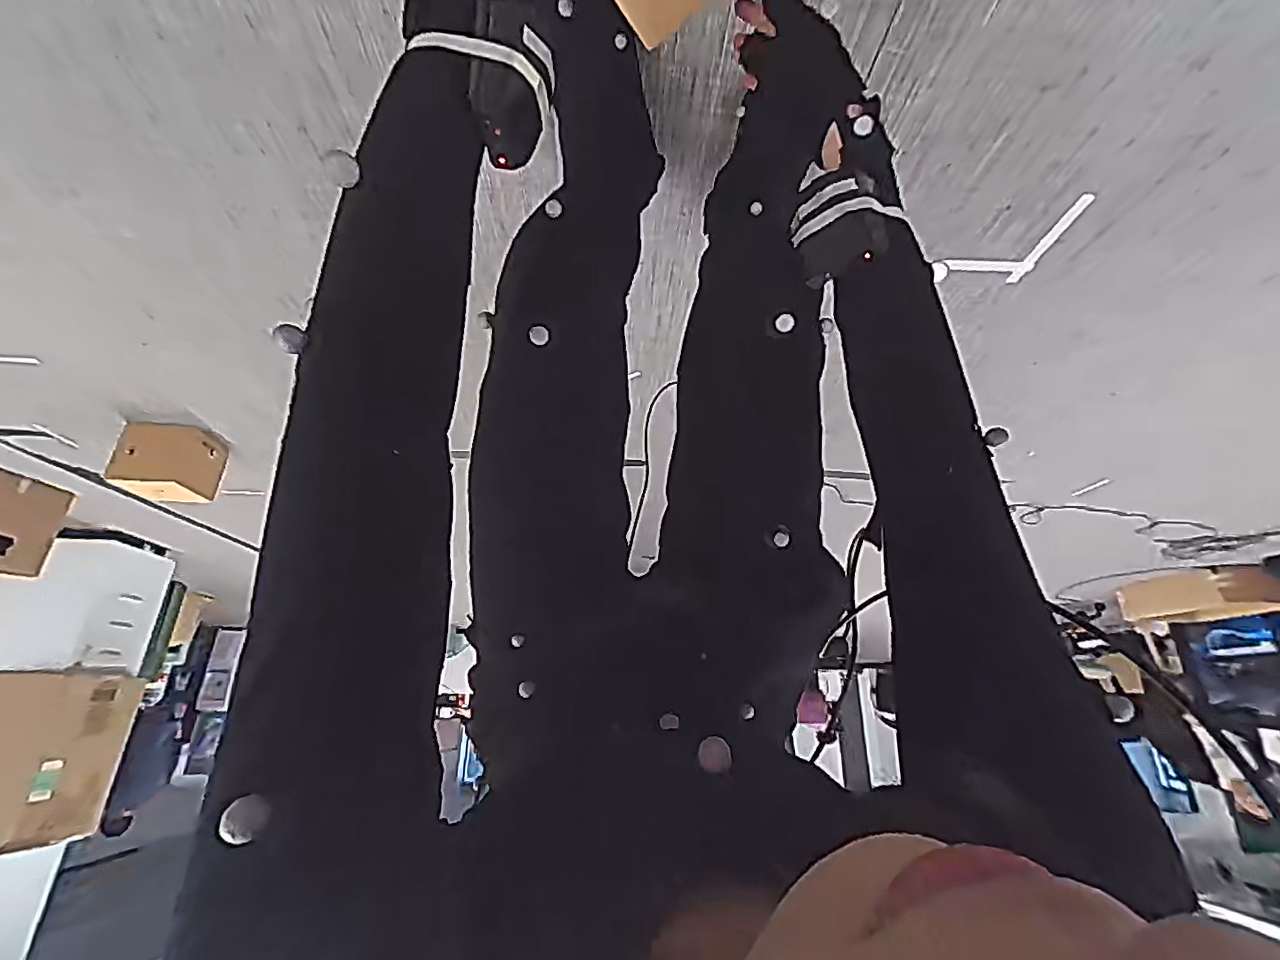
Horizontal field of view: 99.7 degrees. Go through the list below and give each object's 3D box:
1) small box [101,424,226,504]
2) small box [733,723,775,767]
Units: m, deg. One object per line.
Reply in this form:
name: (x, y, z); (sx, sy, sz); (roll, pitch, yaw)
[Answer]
small box: (-1.298, -0.045, 1.488); (0.179, 0.176, 0.168); (2, 158, -4)
small box: (0.501, 1.171, 2.398); (0.168, 0.176, 0.179); (-2, 156, 8)
